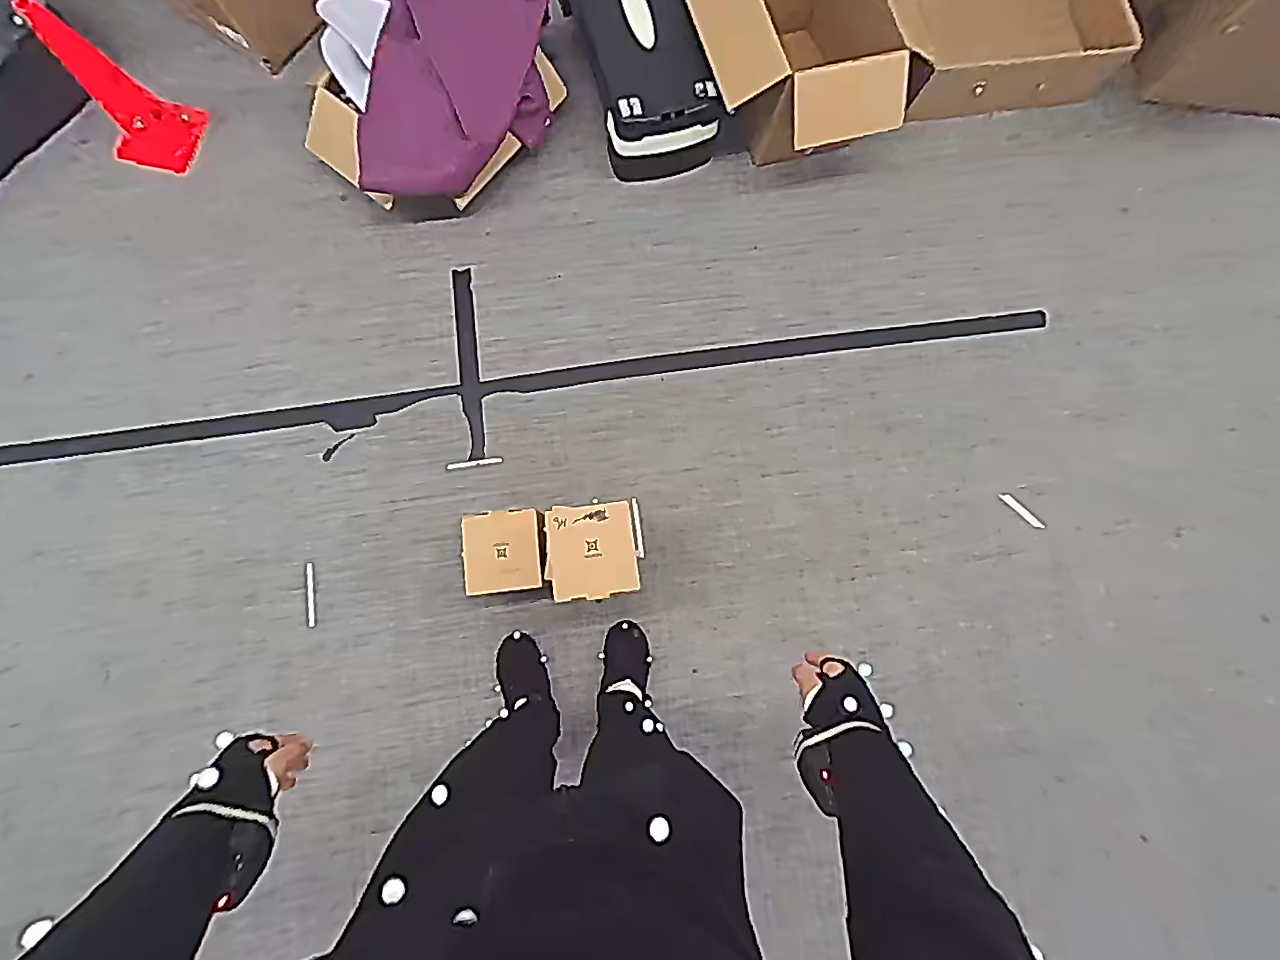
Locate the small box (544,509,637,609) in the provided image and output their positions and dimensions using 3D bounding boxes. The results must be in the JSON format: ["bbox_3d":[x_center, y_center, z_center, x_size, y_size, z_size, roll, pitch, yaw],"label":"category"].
[{"bbox_3d":[-0.098,0.160,1.114,0.168,0.176,0.179,-7,82,-5],"label":"small box"}]
